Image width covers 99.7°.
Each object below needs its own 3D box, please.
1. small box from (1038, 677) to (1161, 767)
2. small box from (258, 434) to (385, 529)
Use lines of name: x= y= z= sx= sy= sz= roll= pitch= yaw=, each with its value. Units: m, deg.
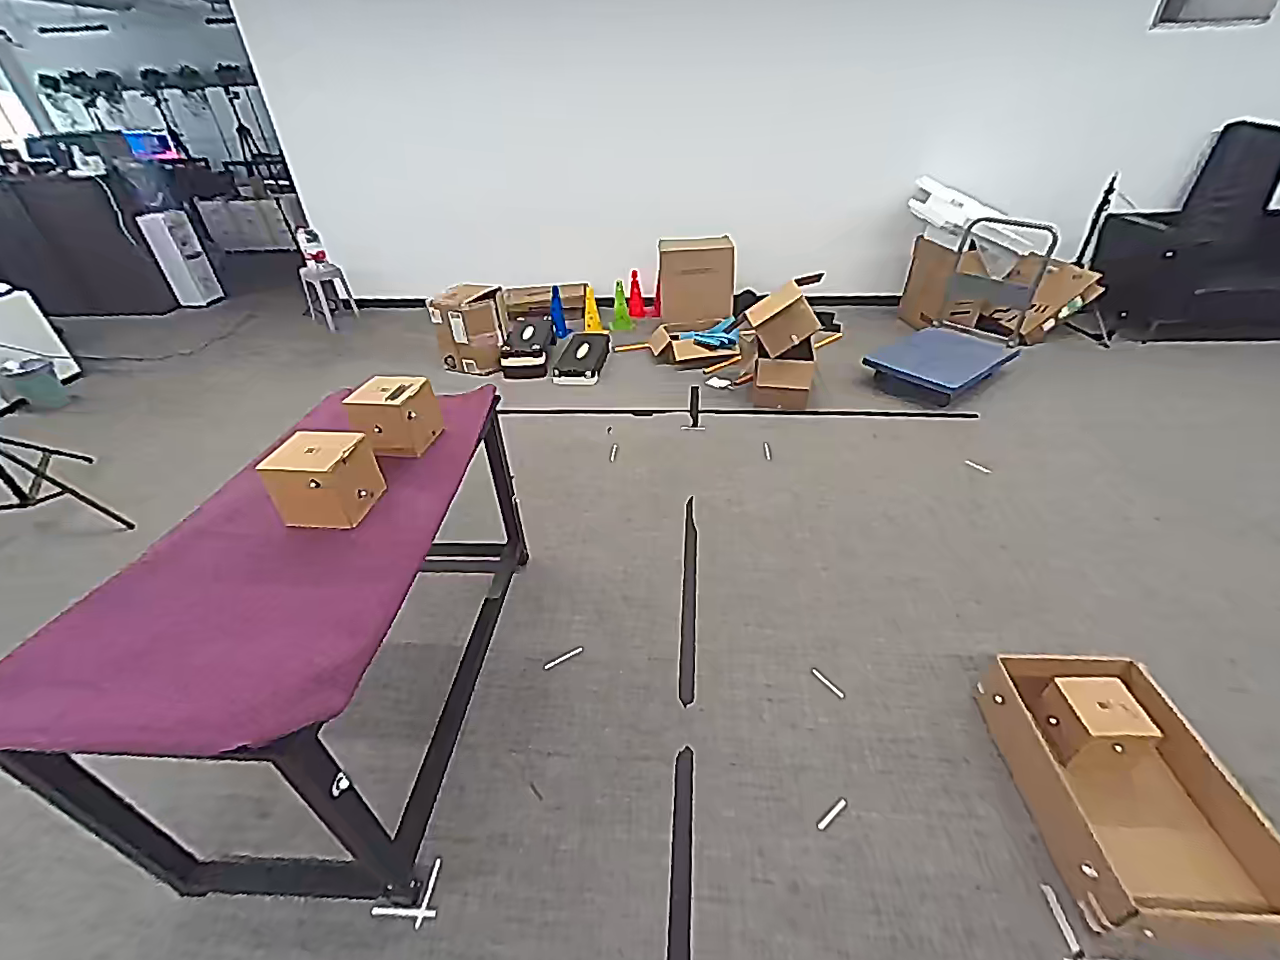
small box: x=1.215 y=0.652 z=1.453 sx=0.179 sy=0.176 sz=0.168 roll=-1 pitch=37 yaw=2
small box: x=-0.748 y=0.003 z=1.291 sx=0.179 sy=0.176 sz=0.168 roll=2 pitch=36 yaw=5
